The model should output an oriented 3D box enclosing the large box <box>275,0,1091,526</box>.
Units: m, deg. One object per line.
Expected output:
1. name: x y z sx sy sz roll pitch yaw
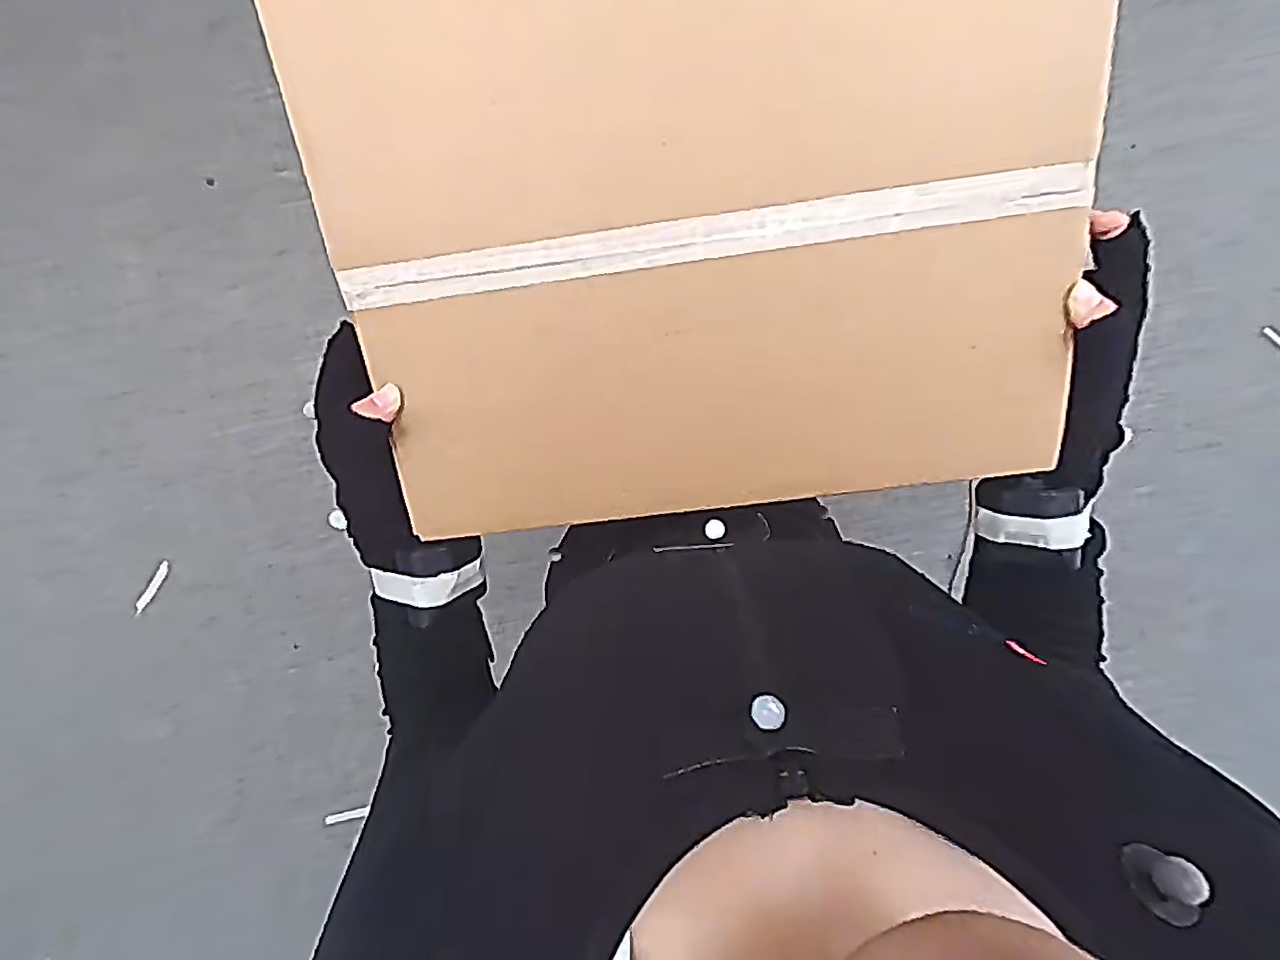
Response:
1. large box: 0.033 -0.185 0.442 0.408 0.320 0.320 -7 110 3
